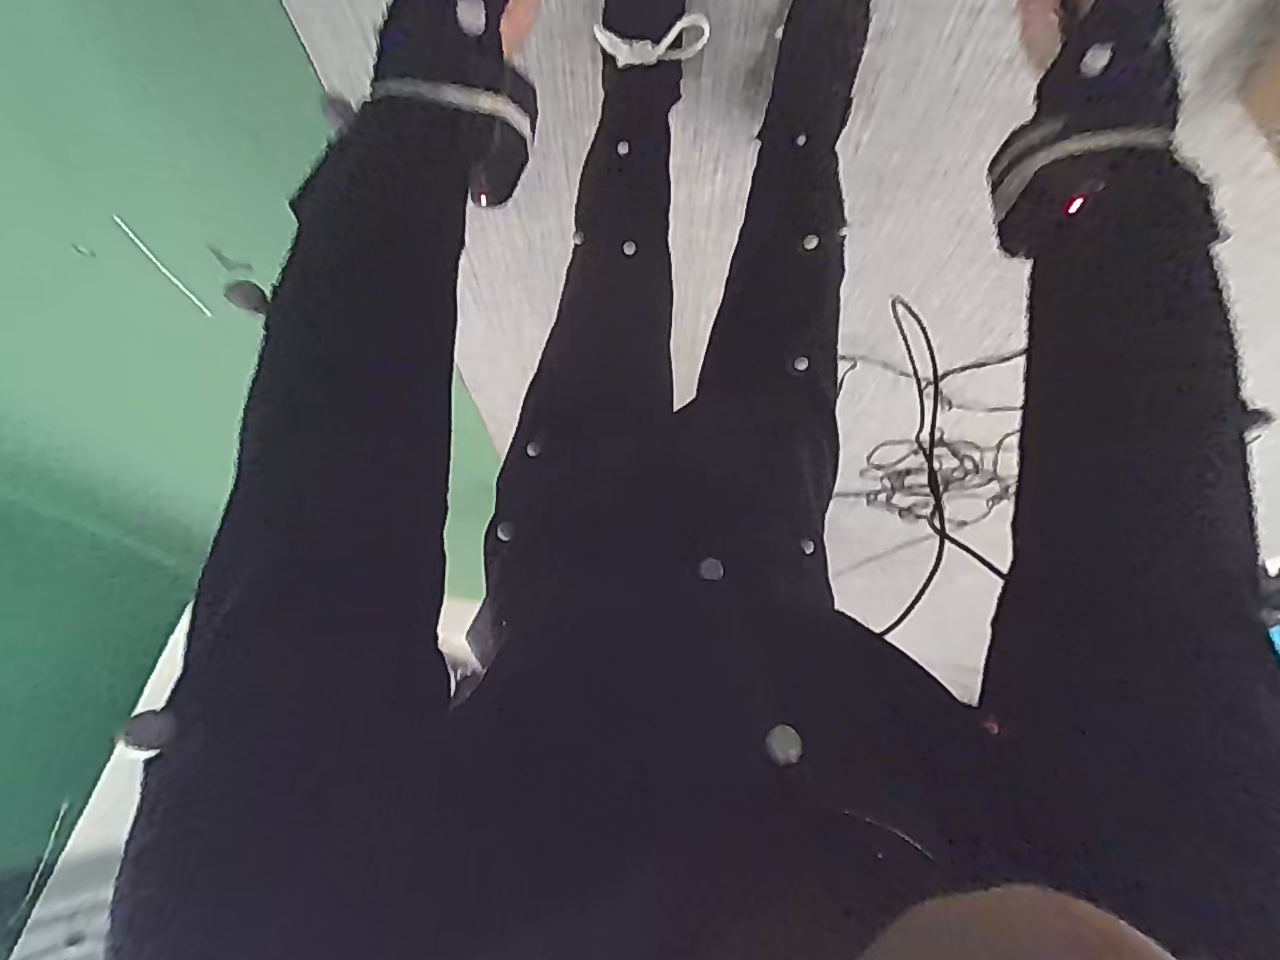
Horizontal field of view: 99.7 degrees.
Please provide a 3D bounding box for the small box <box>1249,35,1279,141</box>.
[{"bbox_3d":[0.864,-0.493,0.610,0.168,0.176,0.179,-3,153,21],"label":"small box"}]
